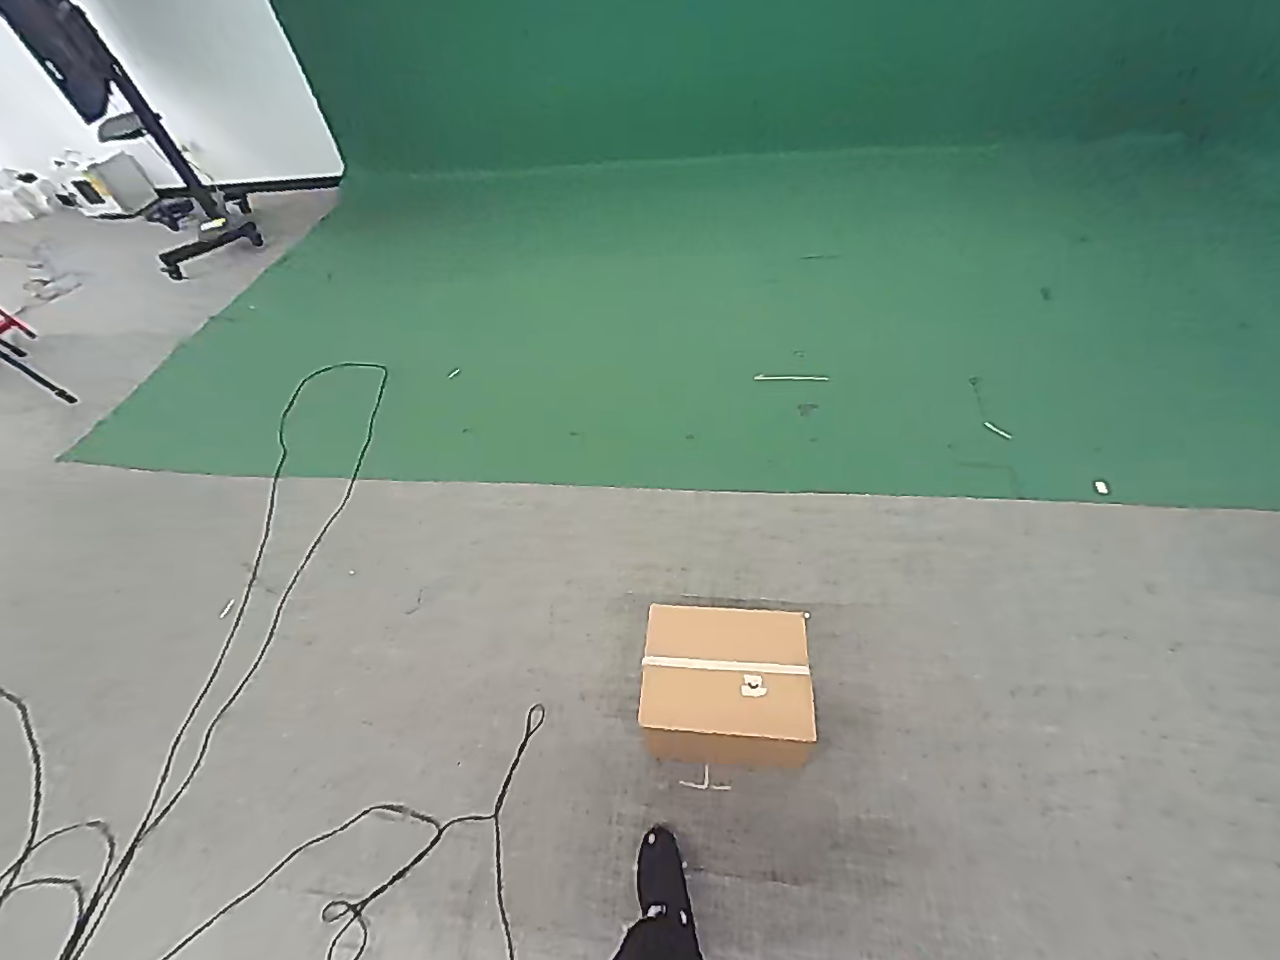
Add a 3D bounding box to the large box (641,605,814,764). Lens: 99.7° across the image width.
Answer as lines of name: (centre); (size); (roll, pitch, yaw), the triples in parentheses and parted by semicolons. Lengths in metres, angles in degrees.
large box: (0.221, 0.550, 1.451); (0.408, 0.320, 0.320); (0, 50, 7)
